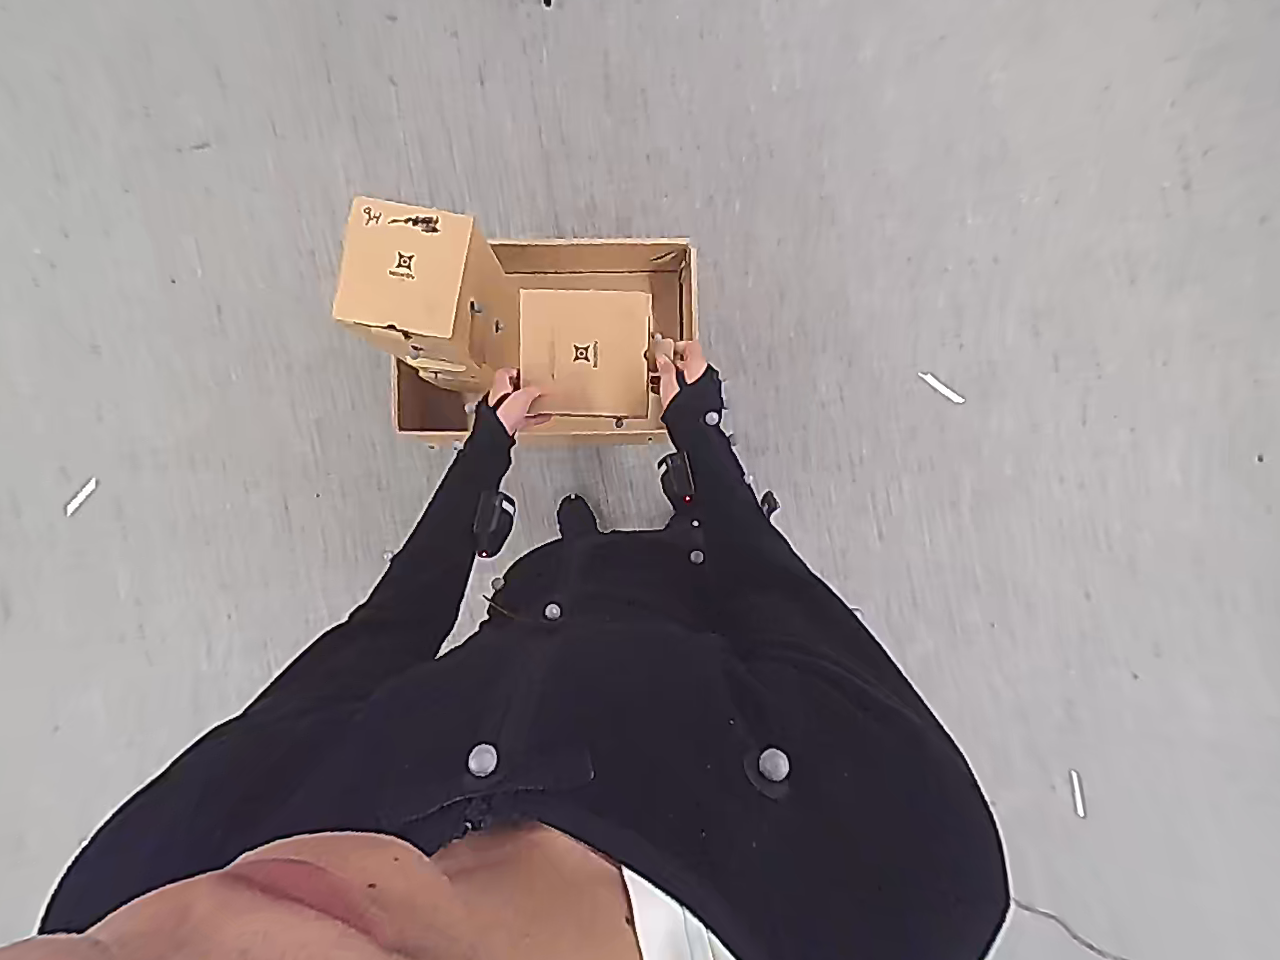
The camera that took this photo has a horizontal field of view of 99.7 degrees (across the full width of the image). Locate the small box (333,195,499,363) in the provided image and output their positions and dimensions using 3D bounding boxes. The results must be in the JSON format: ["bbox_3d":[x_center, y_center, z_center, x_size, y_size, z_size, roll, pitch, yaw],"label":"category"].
[{"bbox_3d":[-0.322,-0.286,0.811,0.168,0.176,0.179,11,89,-1],"label":"small box"}]

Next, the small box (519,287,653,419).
[{"bbox_3d":[-0.073,-0.177,0.797,0.179,0.176,0.168,2,95,1],"label":"small box"}]

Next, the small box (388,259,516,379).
[{"bbox_3d":[-0.327,-0.289,0.975,0.168,0.176,0.179,7,88,-1],"label":"small box"}]
